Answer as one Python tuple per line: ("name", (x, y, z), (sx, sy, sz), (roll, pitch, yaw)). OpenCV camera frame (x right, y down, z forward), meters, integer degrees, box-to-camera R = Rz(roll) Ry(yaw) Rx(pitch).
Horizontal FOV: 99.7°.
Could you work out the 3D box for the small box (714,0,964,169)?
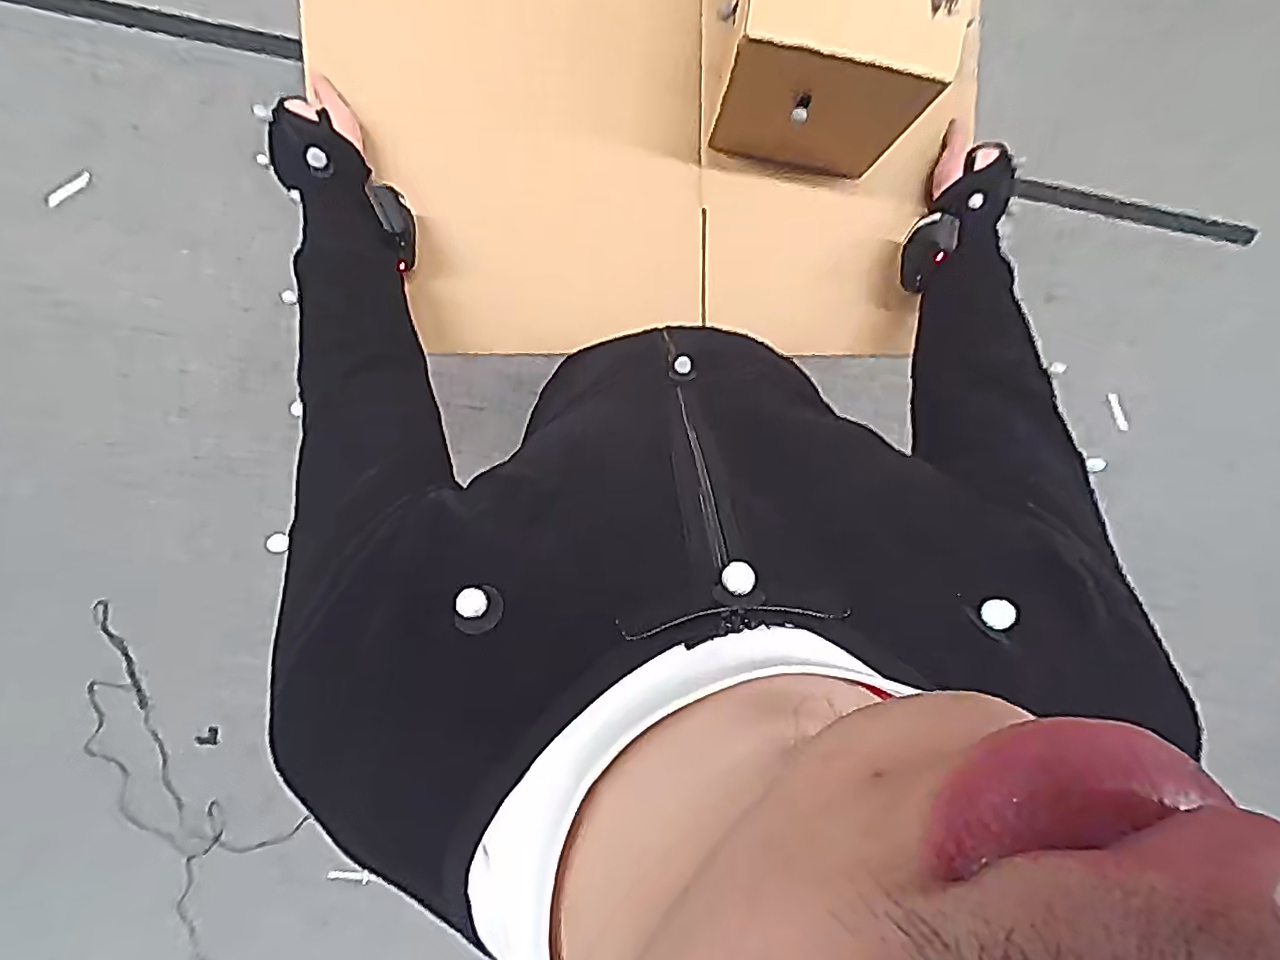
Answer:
("small box", (0.175, -0.422, 0.505), (0.179, 0.176, 0.168), (10, 95, -2))
